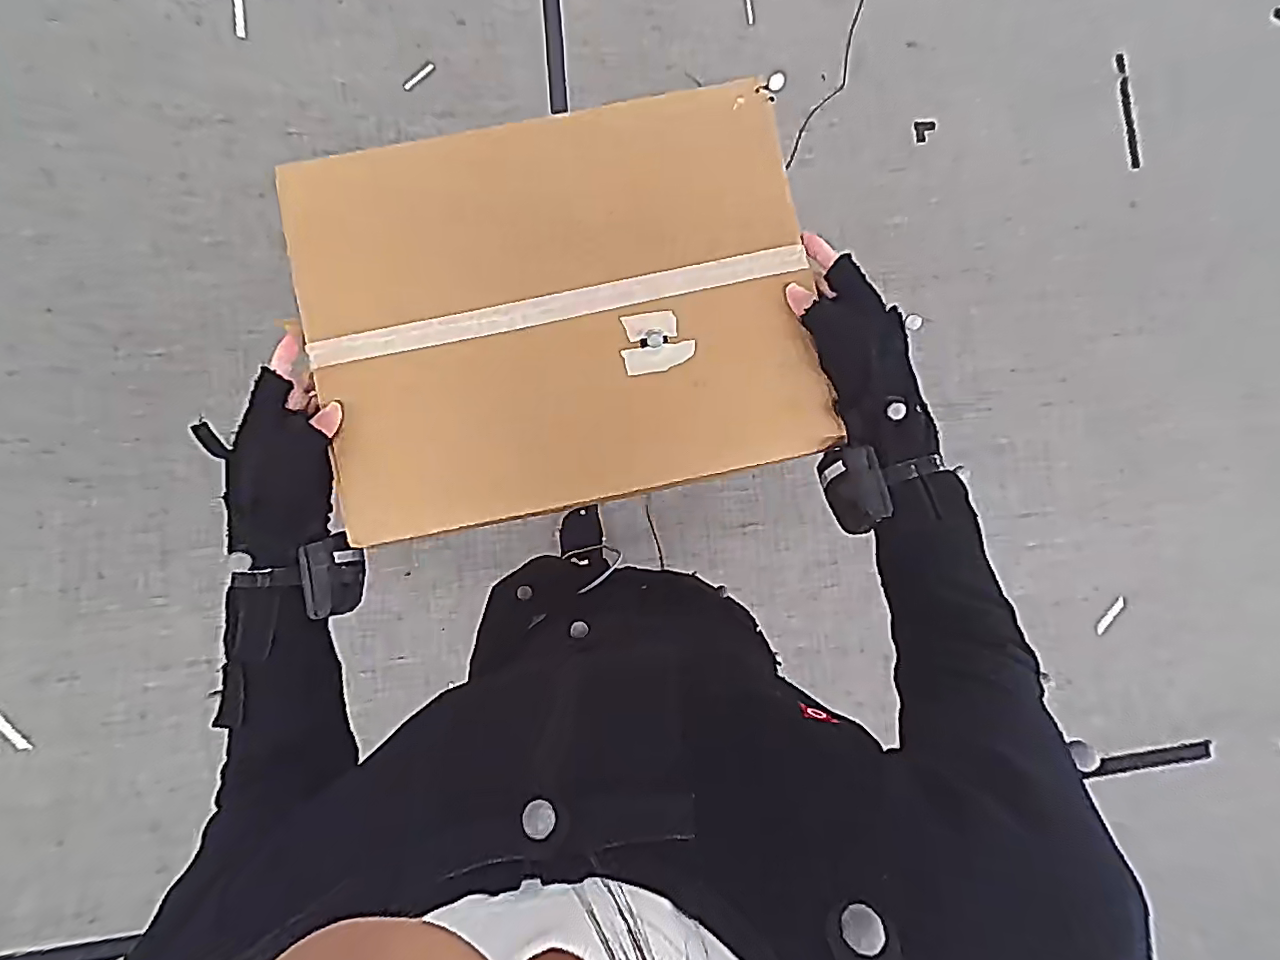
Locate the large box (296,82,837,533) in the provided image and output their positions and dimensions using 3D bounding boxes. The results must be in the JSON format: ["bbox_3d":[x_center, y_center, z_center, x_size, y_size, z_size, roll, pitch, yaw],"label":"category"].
[{"bbox_3d":[-0.066,-0.142,0.596,0.408,0.320,0.320,-12,89,-3],"label":"large box"}]
